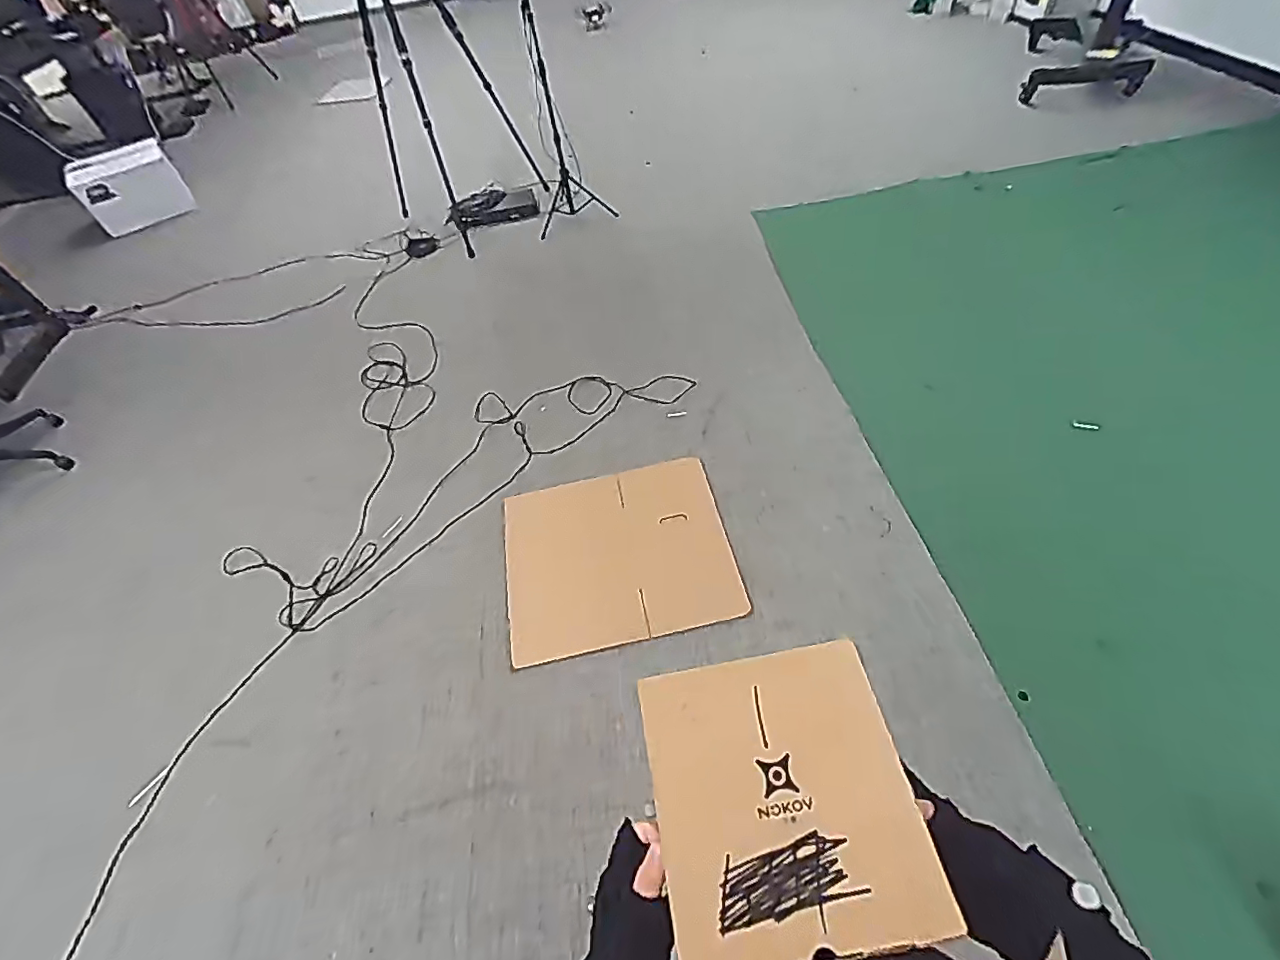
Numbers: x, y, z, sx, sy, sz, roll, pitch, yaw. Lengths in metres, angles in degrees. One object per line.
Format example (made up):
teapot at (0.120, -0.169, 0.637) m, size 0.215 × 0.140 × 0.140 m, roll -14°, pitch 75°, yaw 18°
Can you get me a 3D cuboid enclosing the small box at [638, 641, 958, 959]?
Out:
small box at (0.100, 0.248, 0.420) m, size 0.168 × 0.176 × 0.179 m, roll -11°, pitch 56°, yaw -1°
